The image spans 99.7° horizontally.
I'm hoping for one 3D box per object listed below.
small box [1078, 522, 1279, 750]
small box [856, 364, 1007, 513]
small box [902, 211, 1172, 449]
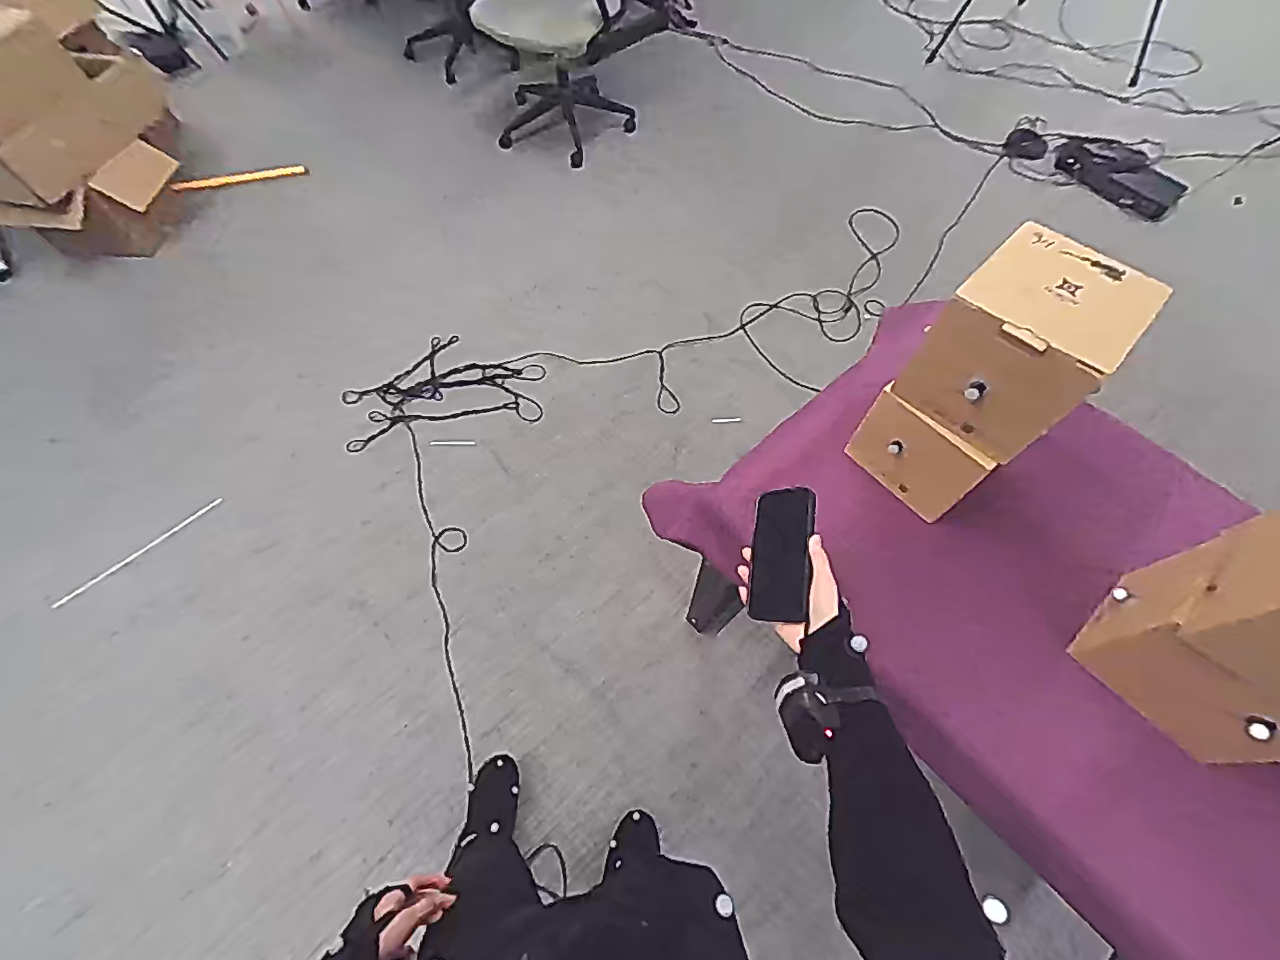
[{"bbox_3d":[0.676,0.185,0.622,0.168,0.176,0.179,-37,66,-18],"label":"small box"},{"bbox_3d":[0.438,-0.083,0.777,0.179,0.176,0.168,-36,66,-18],"label":"small box"},{"bbox_3d":[0.442,-0.168,0.637,0.168,0.176,0.179,41,69,20],"label":"small box"}]
